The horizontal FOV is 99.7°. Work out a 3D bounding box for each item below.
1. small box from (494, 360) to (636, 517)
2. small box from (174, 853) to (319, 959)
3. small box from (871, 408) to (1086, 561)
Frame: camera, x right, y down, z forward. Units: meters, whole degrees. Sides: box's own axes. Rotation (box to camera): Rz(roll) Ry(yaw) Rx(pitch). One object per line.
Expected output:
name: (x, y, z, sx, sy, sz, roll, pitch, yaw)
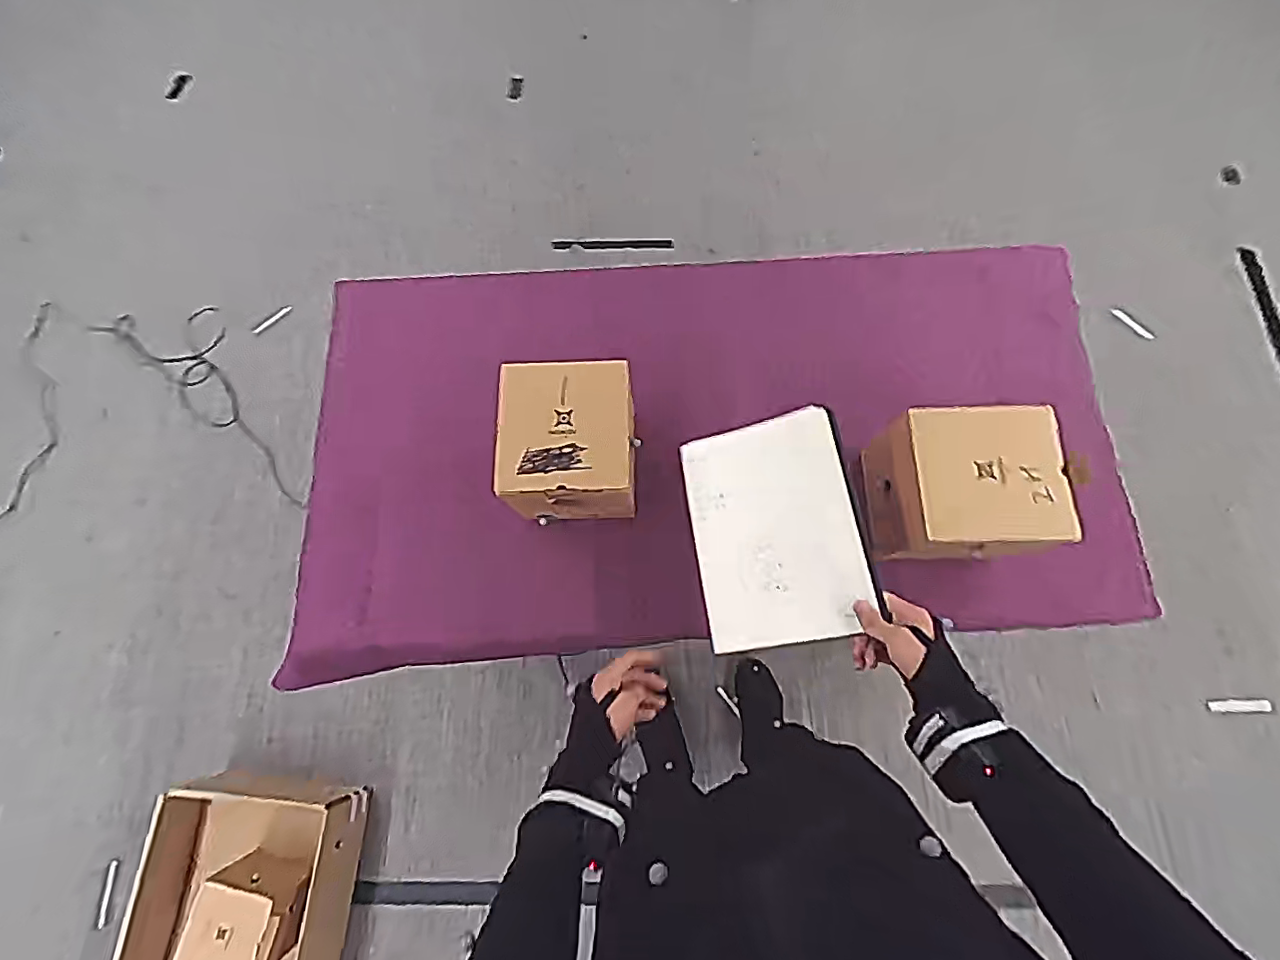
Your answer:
small box: (-0.092, -0.047, 0.744, 0.168, 0.176, 0.179, -1, 74, 2)
small box: (-0.863, 0.969, 1.204, 0.179, 0.176, 0.168, 12, 76, 5)
small box: (0.417, 0.014, 0.706, 0.179, 0.176, 0.168, -1, 75, 2)
